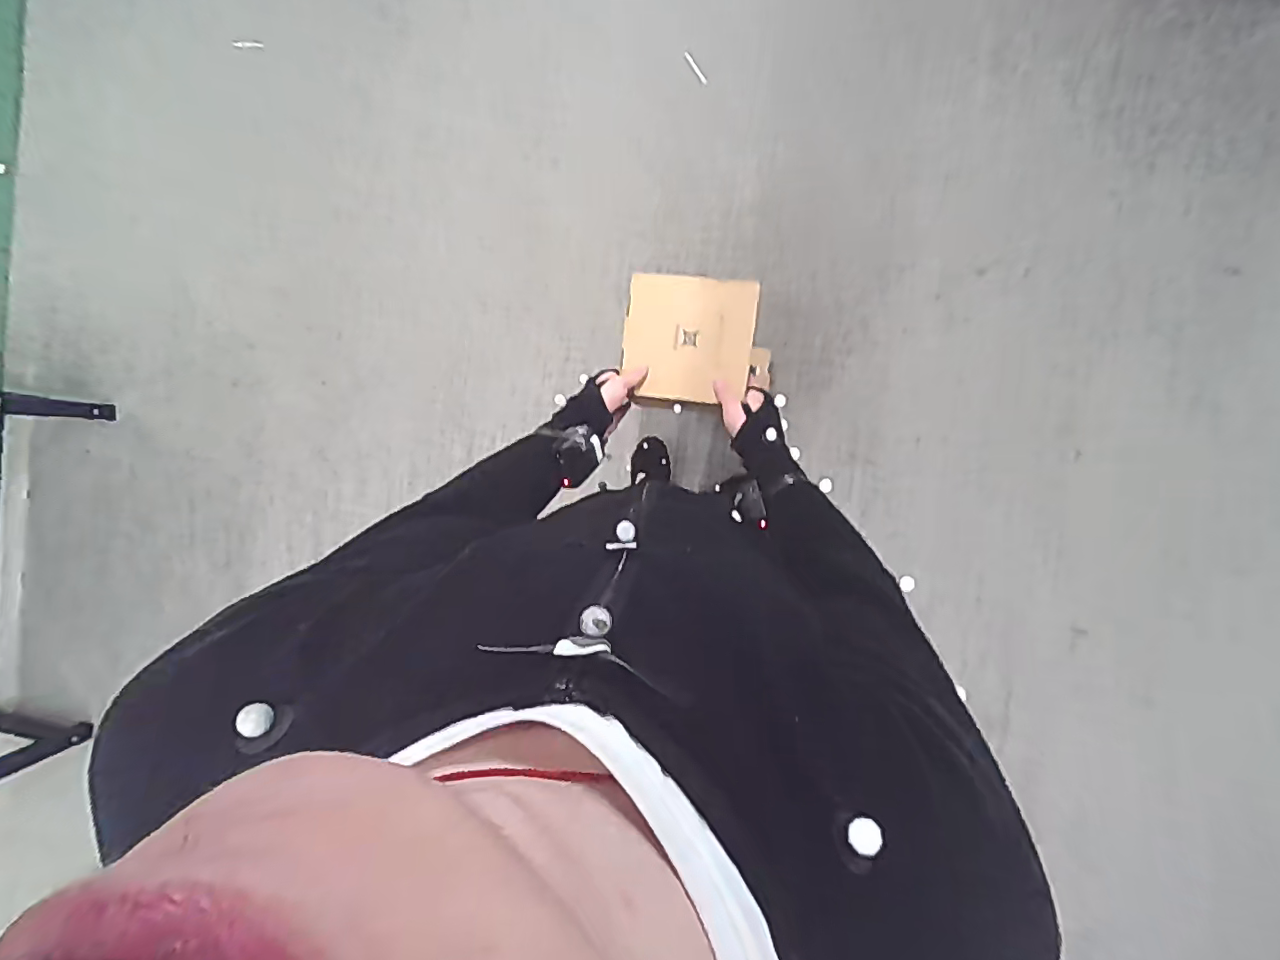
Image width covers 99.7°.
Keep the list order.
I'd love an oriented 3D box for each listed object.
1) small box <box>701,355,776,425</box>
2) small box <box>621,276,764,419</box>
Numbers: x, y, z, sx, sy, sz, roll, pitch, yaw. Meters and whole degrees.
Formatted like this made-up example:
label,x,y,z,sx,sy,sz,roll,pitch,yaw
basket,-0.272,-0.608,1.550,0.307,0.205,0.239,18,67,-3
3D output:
label,x,y,z,sx,sy,sz,roll,pitch,yaw
small box,0.253,-0.242,1.435,0.179,0.176,0.168,9,92,8
small box,0.080,-0.186,0.805,0.179,0.176,0.168,8,92,8
